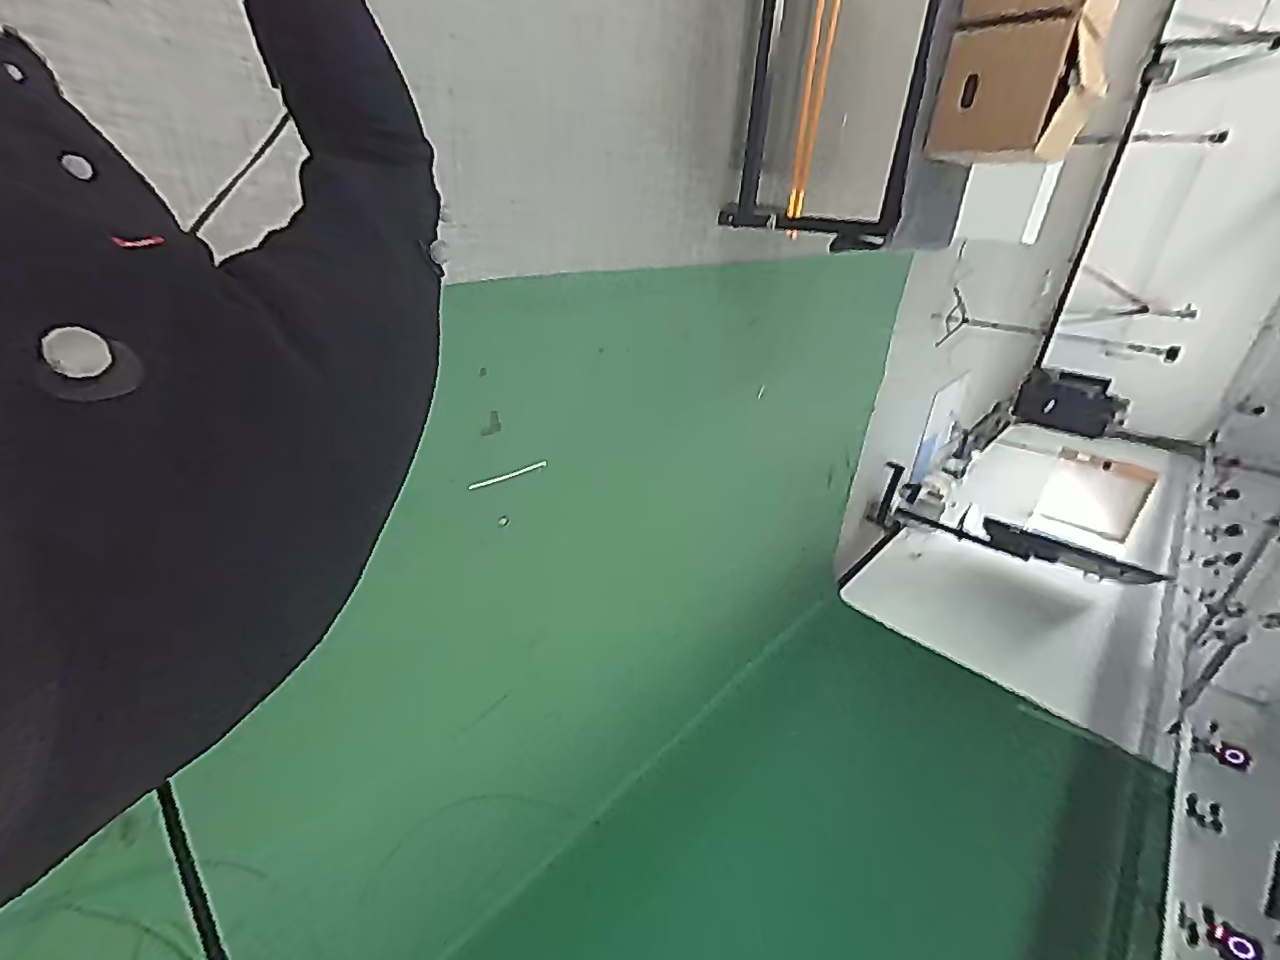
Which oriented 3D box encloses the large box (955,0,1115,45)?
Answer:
[{"bbox_3d":[1.166,-1.477,1.538,0.408,0.320,0.320,-23,127,-40],"label":"large box"}]
